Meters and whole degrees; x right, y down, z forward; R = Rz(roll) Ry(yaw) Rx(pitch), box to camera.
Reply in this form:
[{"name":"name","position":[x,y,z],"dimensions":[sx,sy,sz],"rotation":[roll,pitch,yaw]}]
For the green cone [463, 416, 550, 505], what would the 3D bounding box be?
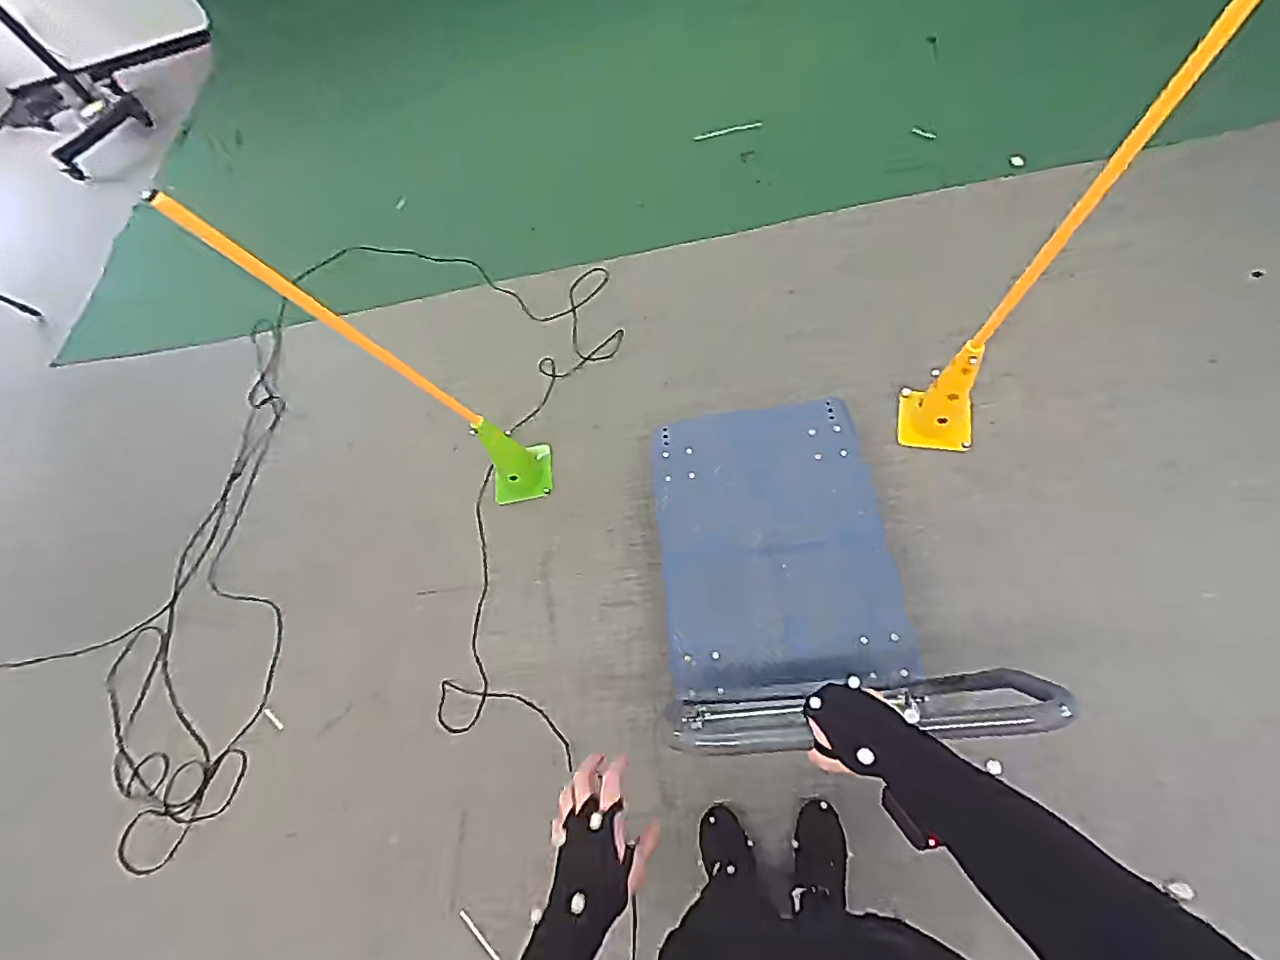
[{"name":"green cone","position":[-0.443,-0.095,1.698],"dimensions":[0.202,0.368,0.200],"rotation":[-12,62,8]}]
